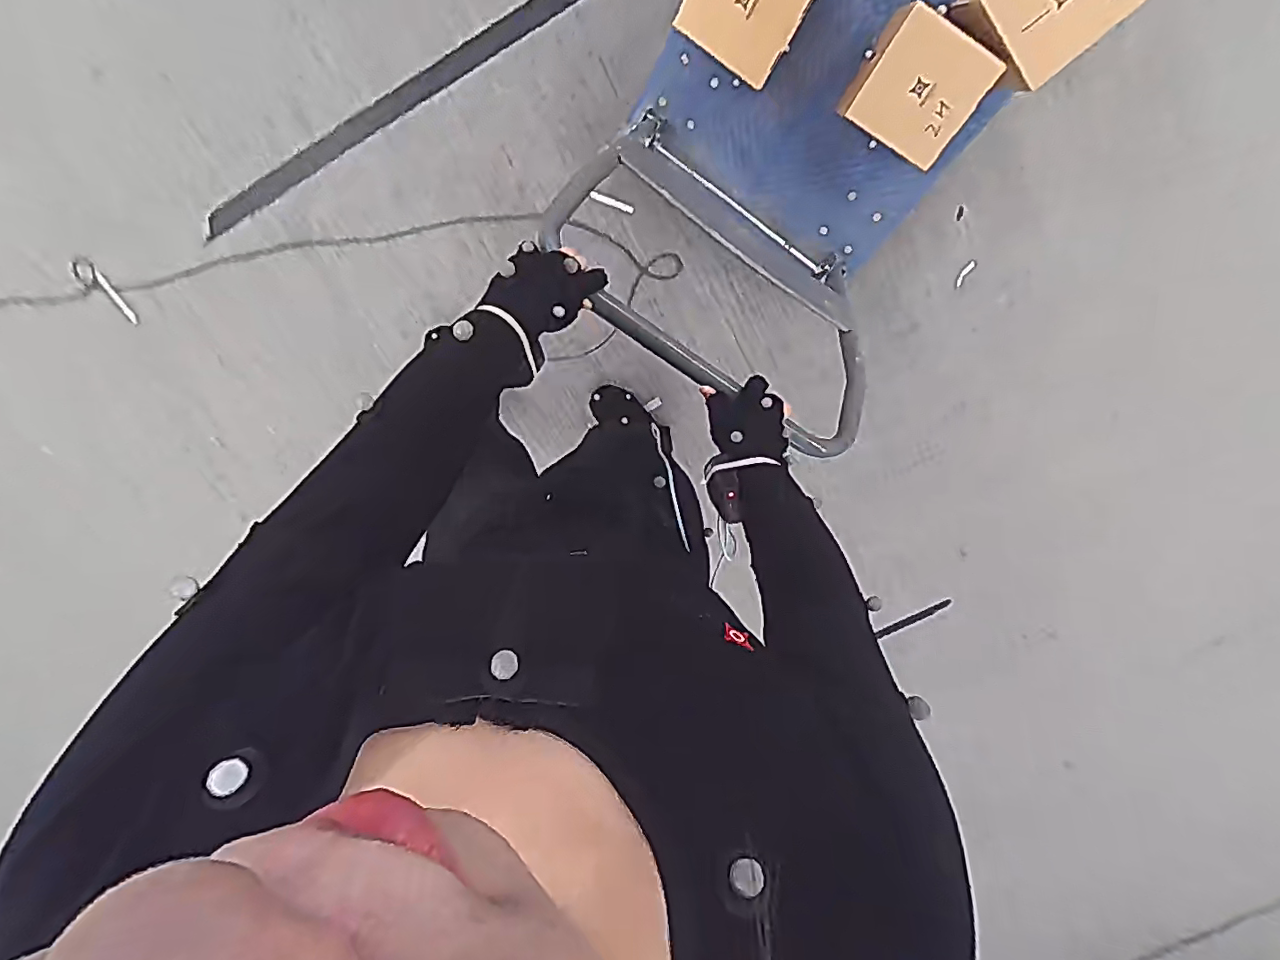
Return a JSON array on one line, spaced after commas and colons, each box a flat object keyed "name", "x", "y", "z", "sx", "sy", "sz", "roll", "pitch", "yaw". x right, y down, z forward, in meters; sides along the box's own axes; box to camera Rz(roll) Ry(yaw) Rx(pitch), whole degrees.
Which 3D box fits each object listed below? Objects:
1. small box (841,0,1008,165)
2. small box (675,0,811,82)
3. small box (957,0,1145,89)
[{"name": "small box", "x": 0.467, "y": -0.673, "z": 0.922, "sx": 0.179, "sy": 0.176, "sz": 0.168, "roll": 28, "pitch": 128, "yaw": -9}, {"name": "small box", "x": 0.180, "y": -0.797, "z": 0.894, "sx": 0.179, "sy": 0.176, "sz": 0.168, "roll": 29, "pitch": 128, "yaw": -12}, {"name": "small box", "x": 0.628, "y": -0.747, "z": 0.827, "sx": 0.168, "sy": 0.176, "sz": 0.179, "roll": 42, "pitch": 126, "yaw": -19}]
